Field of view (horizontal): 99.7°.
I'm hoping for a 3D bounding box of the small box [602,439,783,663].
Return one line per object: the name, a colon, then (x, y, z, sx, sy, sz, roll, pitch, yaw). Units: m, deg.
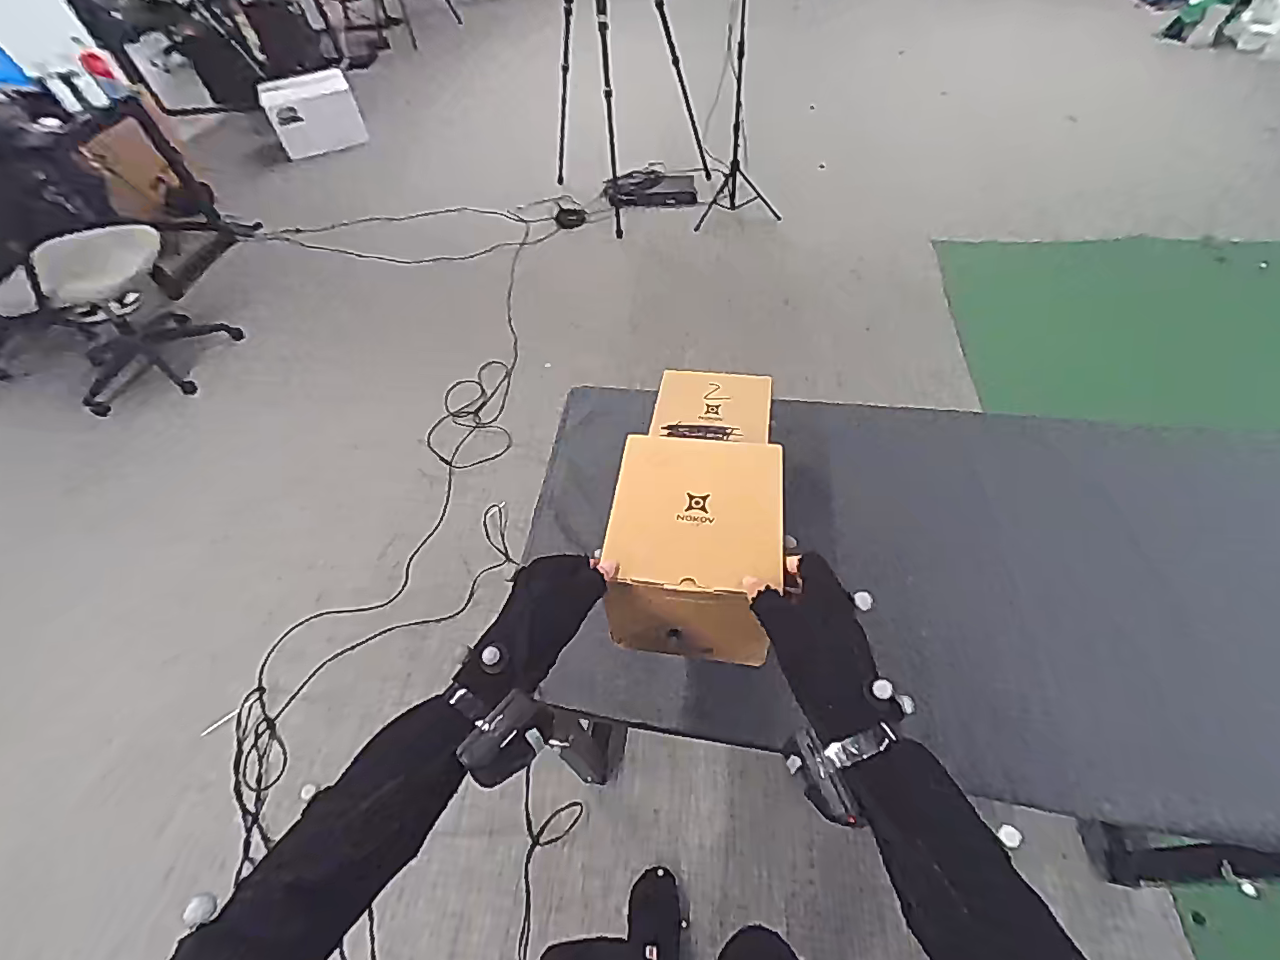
small box: (0.061, 0.079, 0.596, 0.168, 0.176, 0.179, 5, 53, 8)
